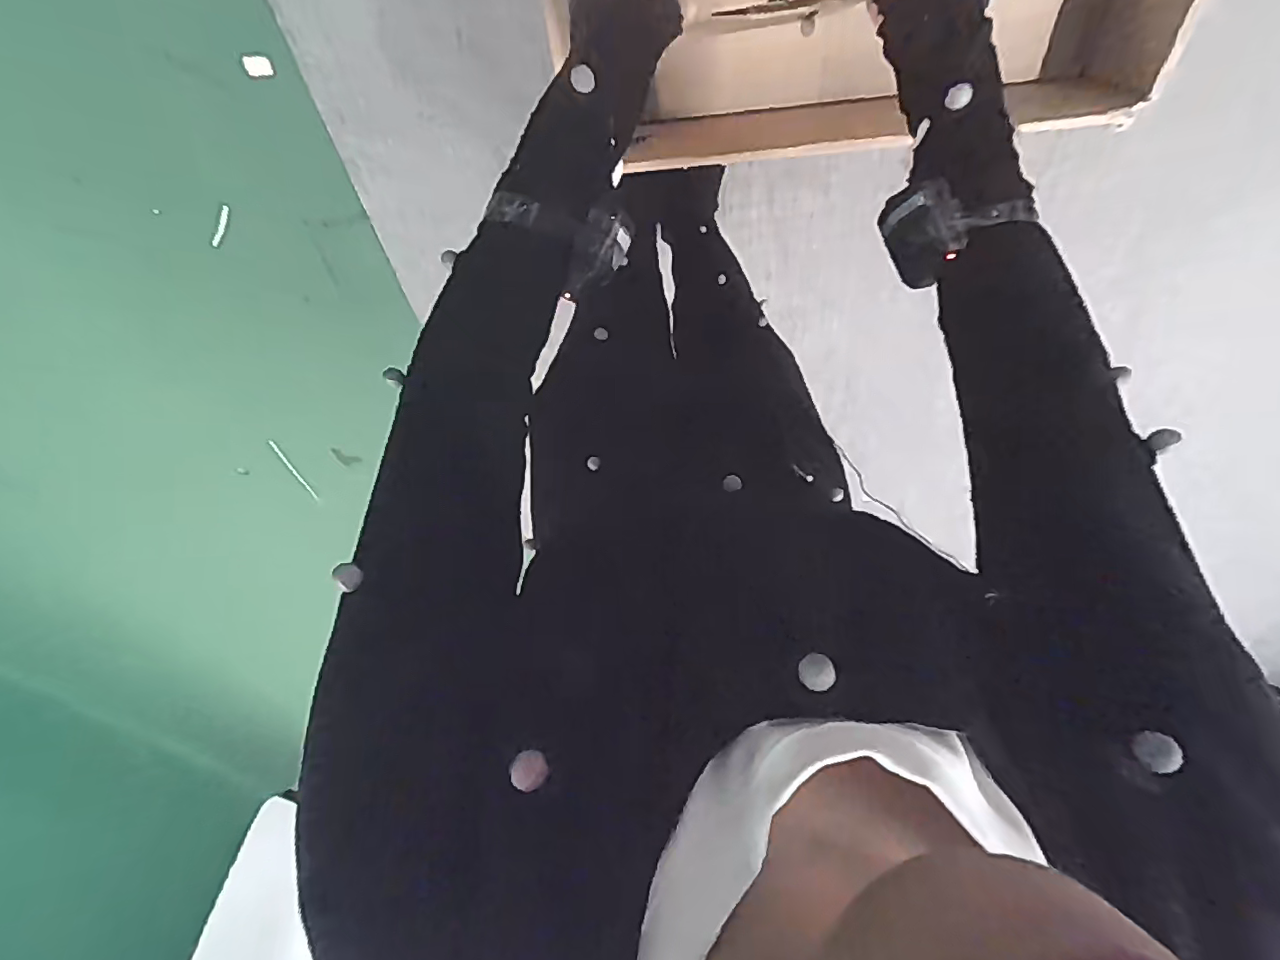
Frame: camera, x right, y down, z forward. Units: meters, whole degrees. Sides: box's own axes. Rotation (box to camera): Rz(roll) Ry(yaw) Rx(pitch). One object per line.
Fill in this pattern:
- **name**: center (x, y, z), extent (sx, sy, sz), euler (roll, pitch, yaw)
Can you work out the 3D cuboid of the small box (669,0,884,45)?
- **small box**: center (0.101, -0.470, 0.432), extent (0.168, 0.176, 0.179), euler (-4, 124, 6)
